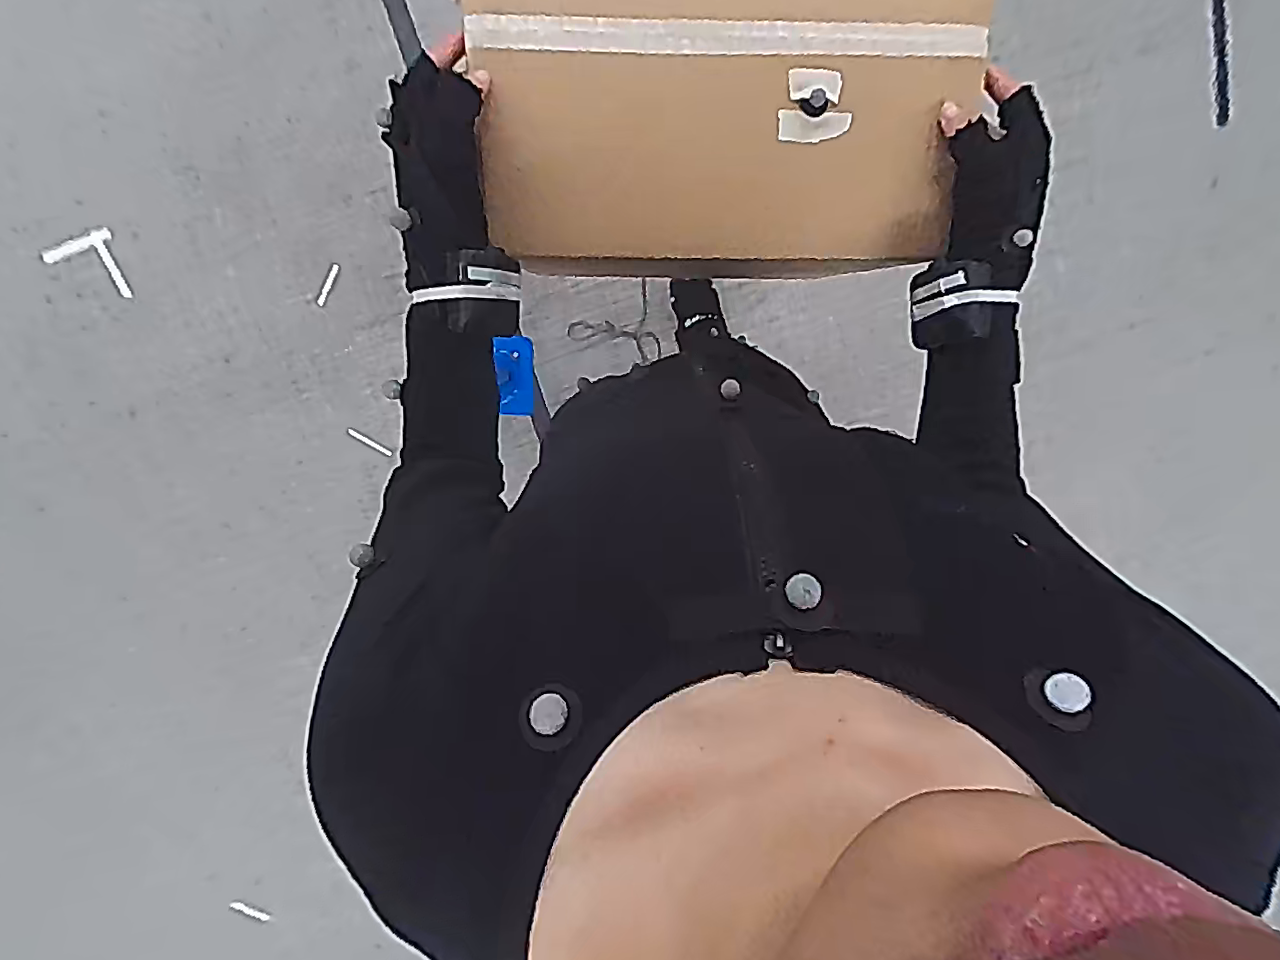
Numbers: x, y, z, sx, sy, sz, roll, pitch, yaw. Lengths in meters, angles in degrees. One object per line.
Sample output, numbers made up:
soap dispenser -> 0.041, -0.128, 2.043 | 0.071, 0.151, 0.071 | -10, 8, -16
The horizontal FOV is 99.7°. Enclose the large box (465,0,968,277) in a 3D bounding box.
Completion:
large box -> 0.054, -0.395, 0.572 | 0.408, 0.320, 0.320 | -2, 108, -3

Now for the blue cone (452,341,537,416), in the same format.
blue cone -> -0.361, -0.228, 1.250 | 0.193, 0.380, 0.192 | 3, 102, -2
